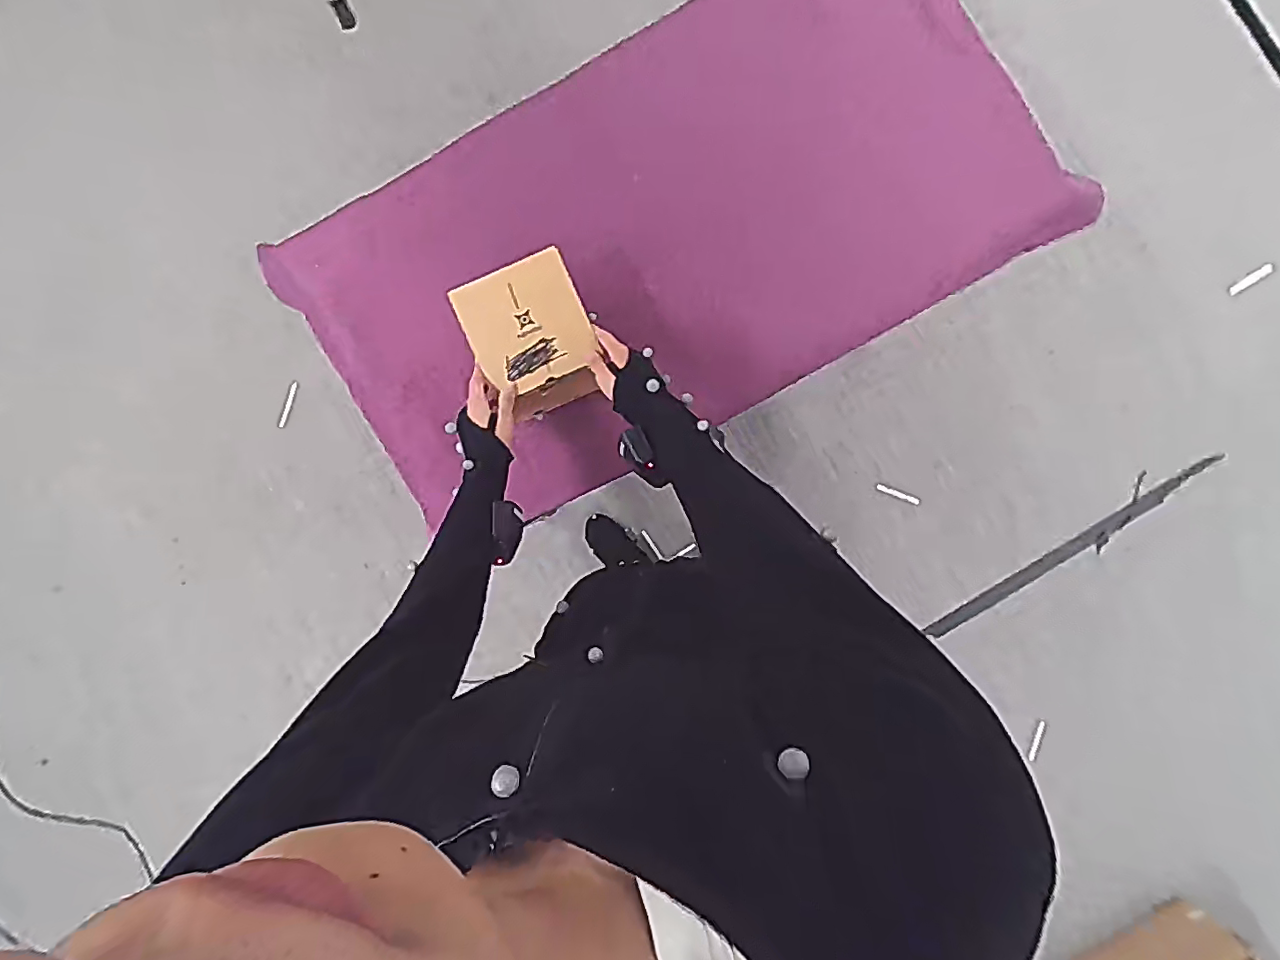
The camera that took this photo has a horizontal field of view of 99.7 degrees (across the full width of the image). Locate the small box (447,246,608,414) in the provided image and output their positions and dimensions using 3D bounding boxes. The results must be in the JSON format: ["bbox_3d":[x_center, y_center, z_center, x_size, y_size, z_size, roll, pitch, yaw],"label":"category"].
[{"bbox_3d":[-0.156,-0.209,0.817,0.168,0.176,0.179,-25,89,-1],"label":"small box"}]
